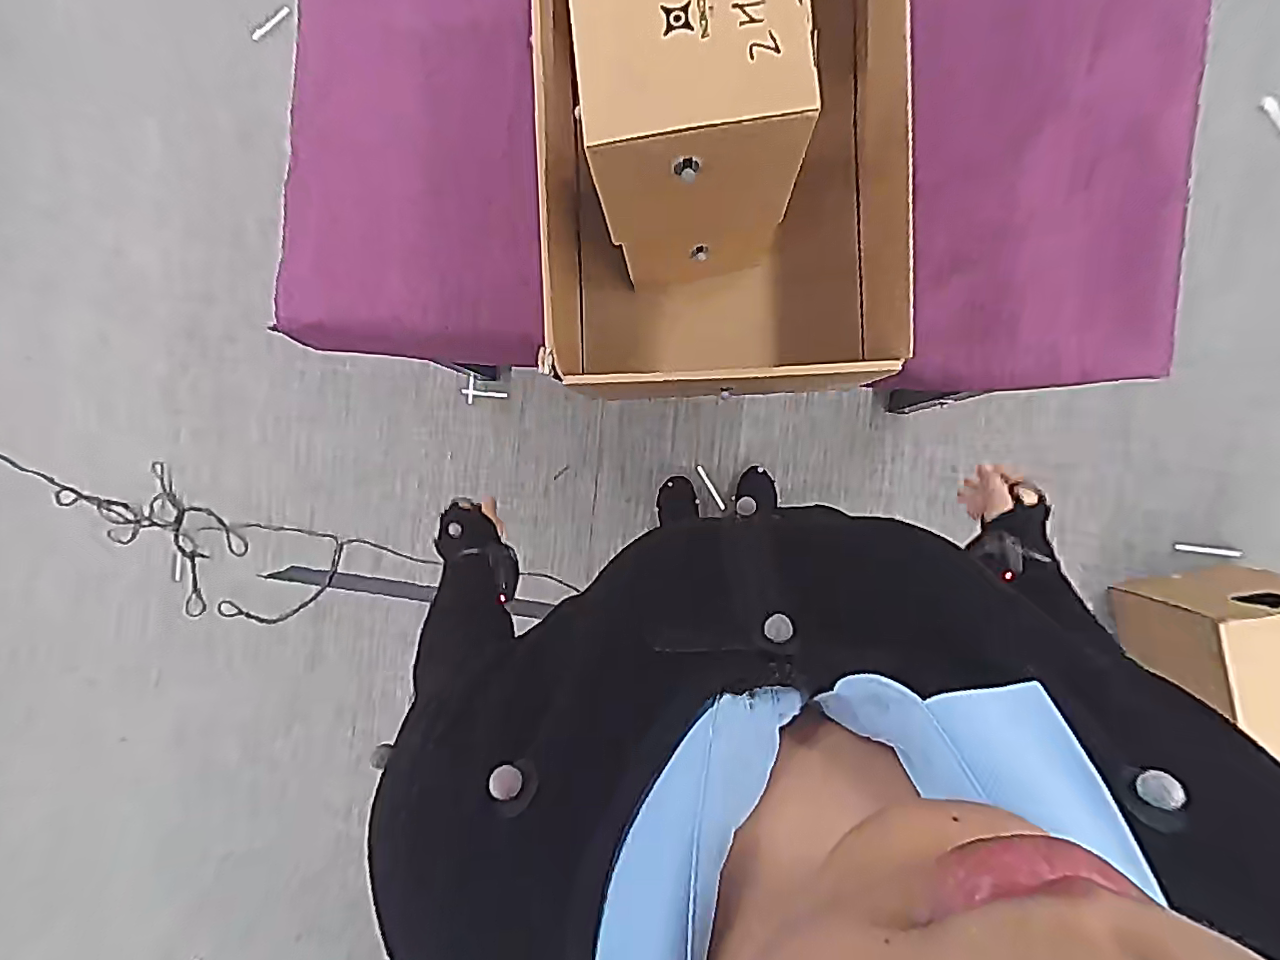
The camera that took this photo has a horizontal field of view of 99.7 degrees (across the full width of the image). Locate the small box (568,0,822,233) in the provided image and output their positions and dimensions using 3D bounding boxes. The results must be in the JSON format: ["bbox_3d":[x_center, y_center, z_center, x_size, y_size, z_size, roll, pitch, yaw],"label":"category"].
[{"bbox_3d":[0.043,-0.336,0.468,0.179,0.176,0.168,-6,89,4],"label":"small box"}]

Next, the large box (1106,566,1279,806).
[{"bbox_3d":[1.382,0.445,1.243,0.320,0.320,0.408,-13,90,5],"label":"large box"}]
